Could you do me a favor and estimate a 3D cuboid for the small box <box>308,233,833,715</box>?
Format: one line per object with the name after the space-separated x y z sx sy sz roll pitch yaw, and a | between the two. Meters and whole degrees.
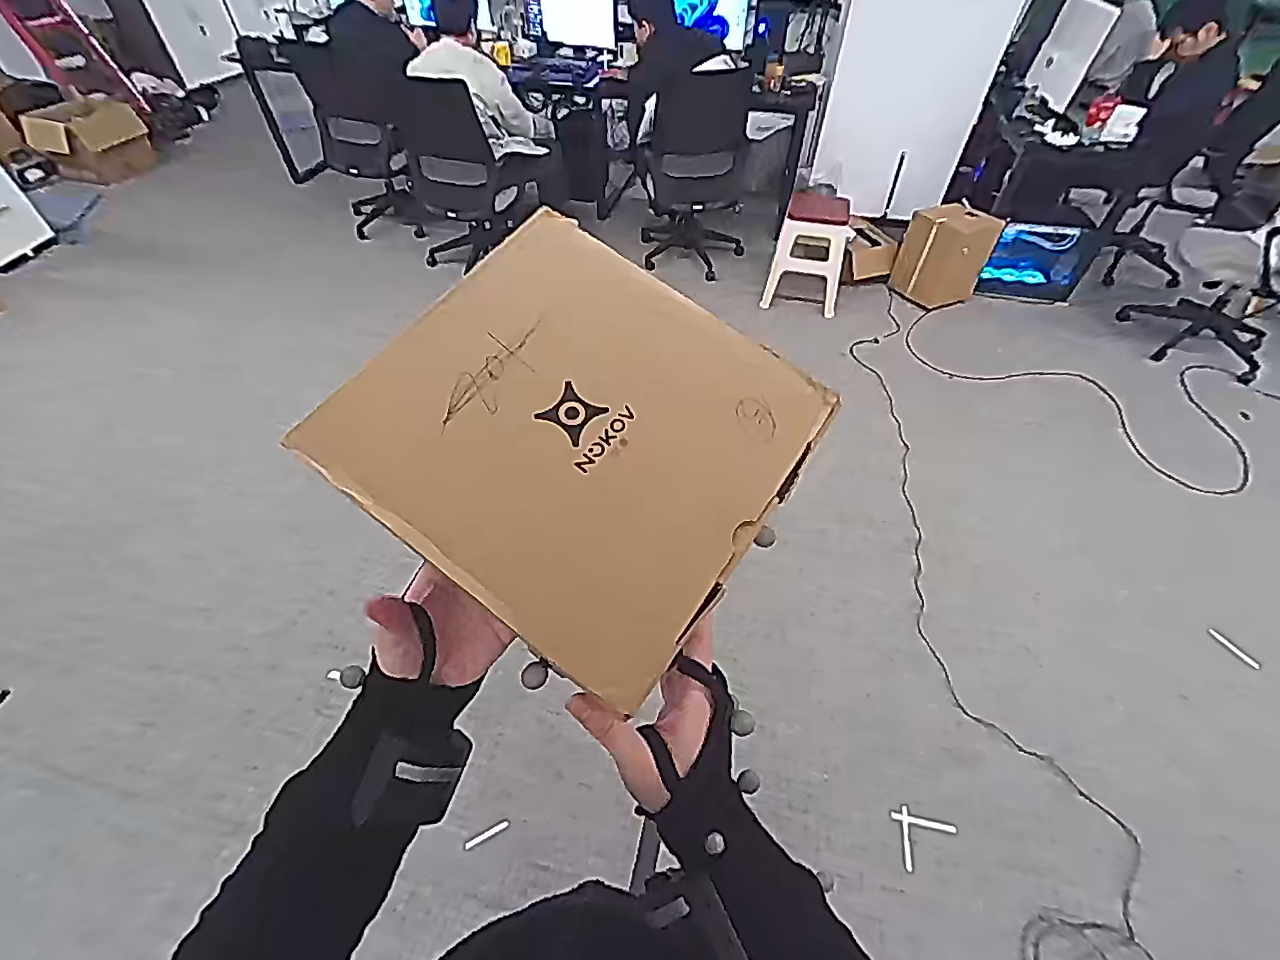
-0.030 0.008 0.313 0.179 0.176 0.168 34 69 9 | small box
